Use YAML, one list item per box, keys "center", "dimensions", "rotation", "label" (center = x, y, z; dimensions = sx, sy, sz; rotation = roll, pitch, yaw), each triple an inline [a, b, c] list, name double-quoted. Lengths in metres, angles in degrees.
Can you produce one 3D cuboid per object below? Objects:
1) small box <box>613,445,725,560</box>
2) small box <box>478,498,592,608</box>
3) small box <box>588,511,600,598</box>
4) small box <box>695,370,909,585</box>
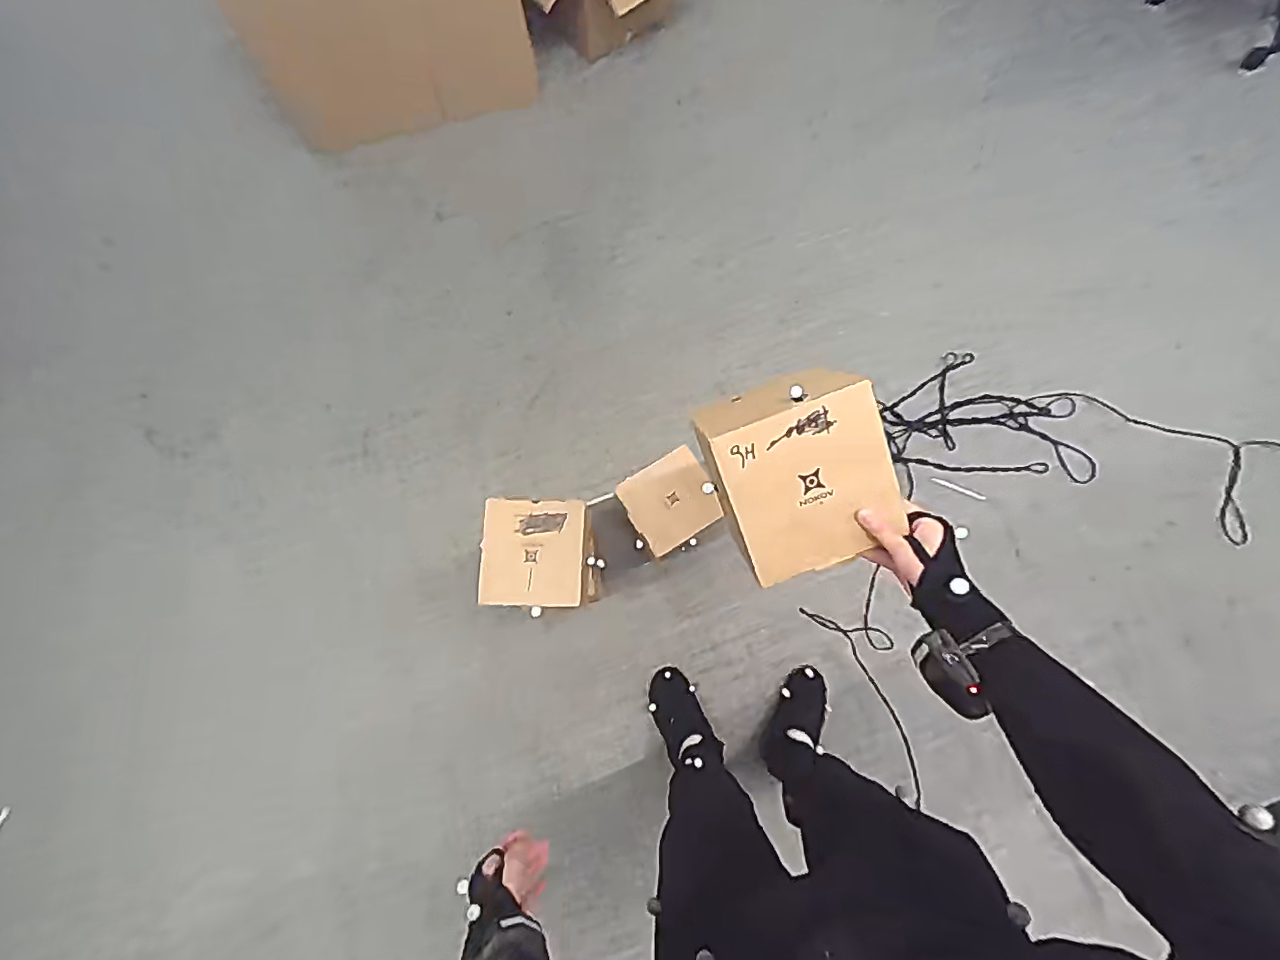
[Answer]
- center: [0.061, 0.057, 1.140]
  dimensions: [0.179, 0.176, 0.168]
  rotation: [-32, 80, -7]
  label: "small box"
- center: [-0.175, 0.134, 0.957]
  dimensions: [0.168, 0.176, 0.179]
  rotation: [1, 77, 0]
  label: "small box"
- center: [-0.177, 0.164, 1.118]
  dimensions: [0.179, 0.176, 0.168]
  rotation: [-3, 77, -2]
  label: "small box"
- center: [0.172, -0.013, 0.616]
  dimensions: [0.168, 0.176, 0.179]
  rotation: [-20, 105, 3]
  label: "small box"
